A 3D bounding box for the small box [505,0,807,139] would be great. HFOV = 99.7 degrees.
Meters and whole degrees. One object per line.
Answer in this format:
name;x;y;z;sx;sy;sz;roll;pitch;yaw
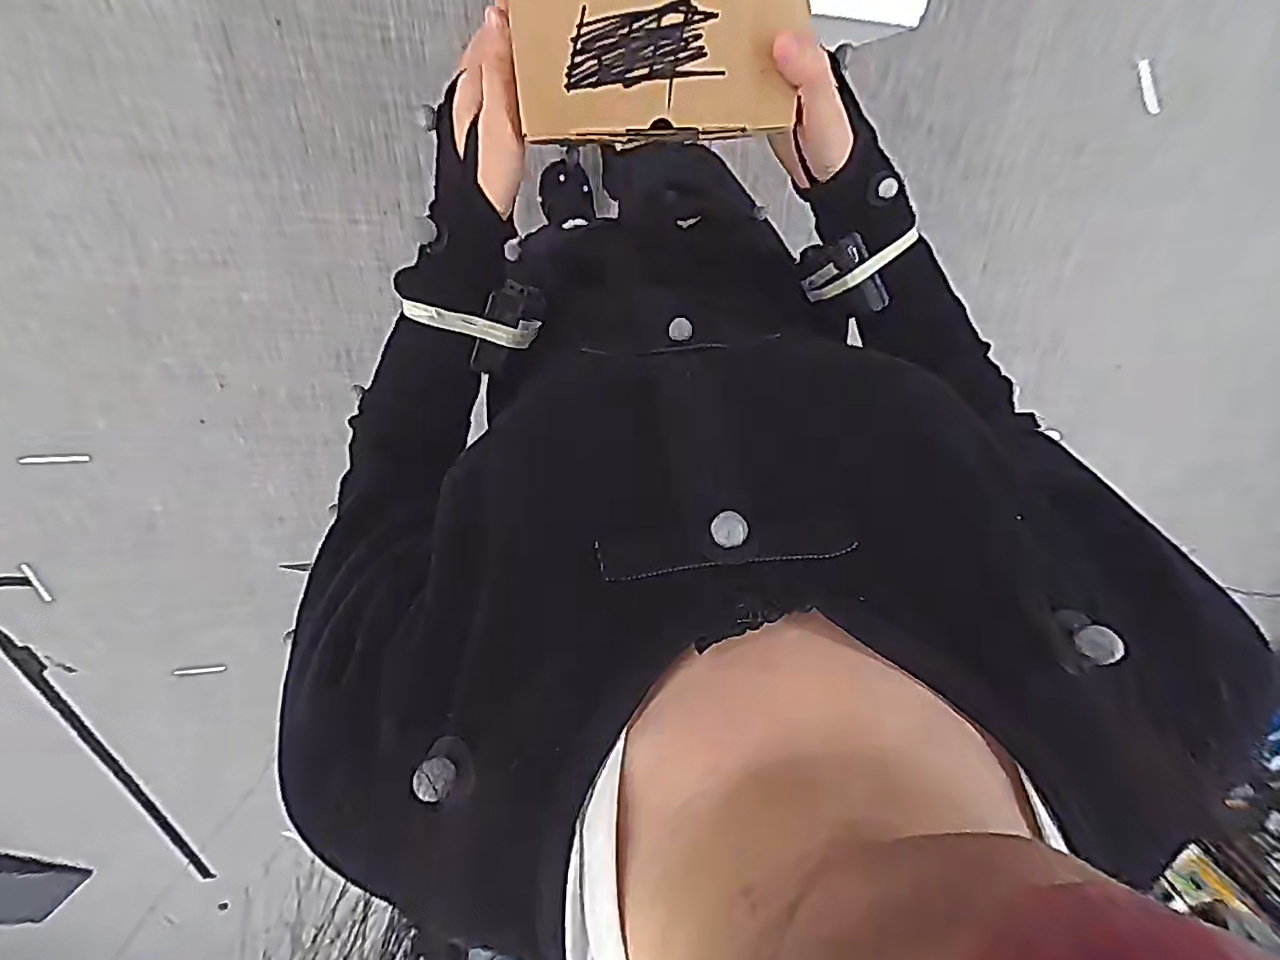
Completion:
small box;0.000;-0.321;0.343;0.168;0.176;0.179;-6;120;-6
